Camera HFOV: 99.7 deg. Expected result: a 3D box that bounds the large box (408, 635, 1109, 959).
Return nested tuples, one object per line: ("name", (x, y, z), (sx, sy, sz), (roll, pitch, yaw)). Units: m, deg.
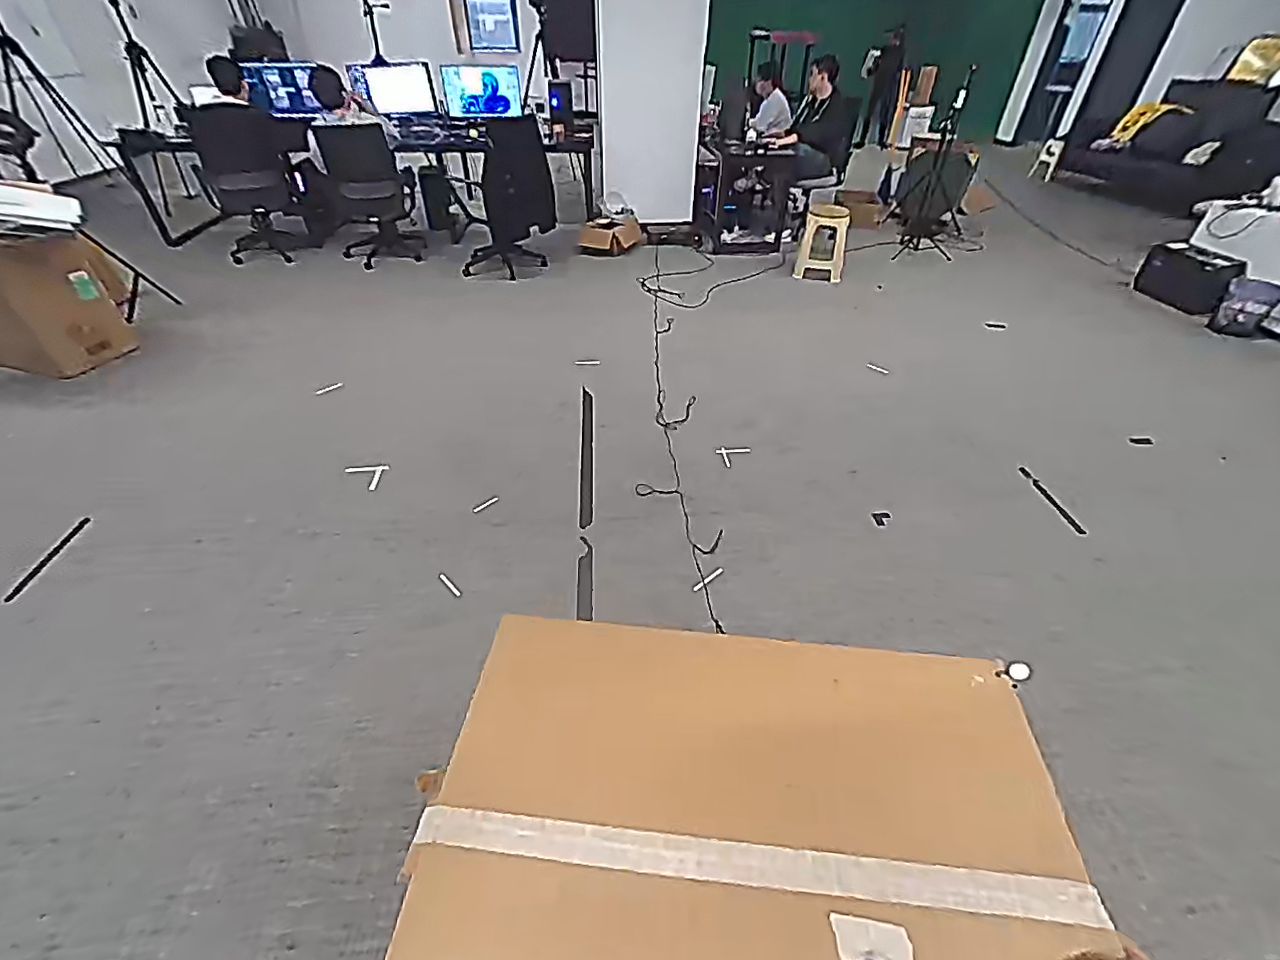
("large box", (0.068, 0.354, 0.436), (0.408, 0.320, 0.320), (4, 44, 4))
